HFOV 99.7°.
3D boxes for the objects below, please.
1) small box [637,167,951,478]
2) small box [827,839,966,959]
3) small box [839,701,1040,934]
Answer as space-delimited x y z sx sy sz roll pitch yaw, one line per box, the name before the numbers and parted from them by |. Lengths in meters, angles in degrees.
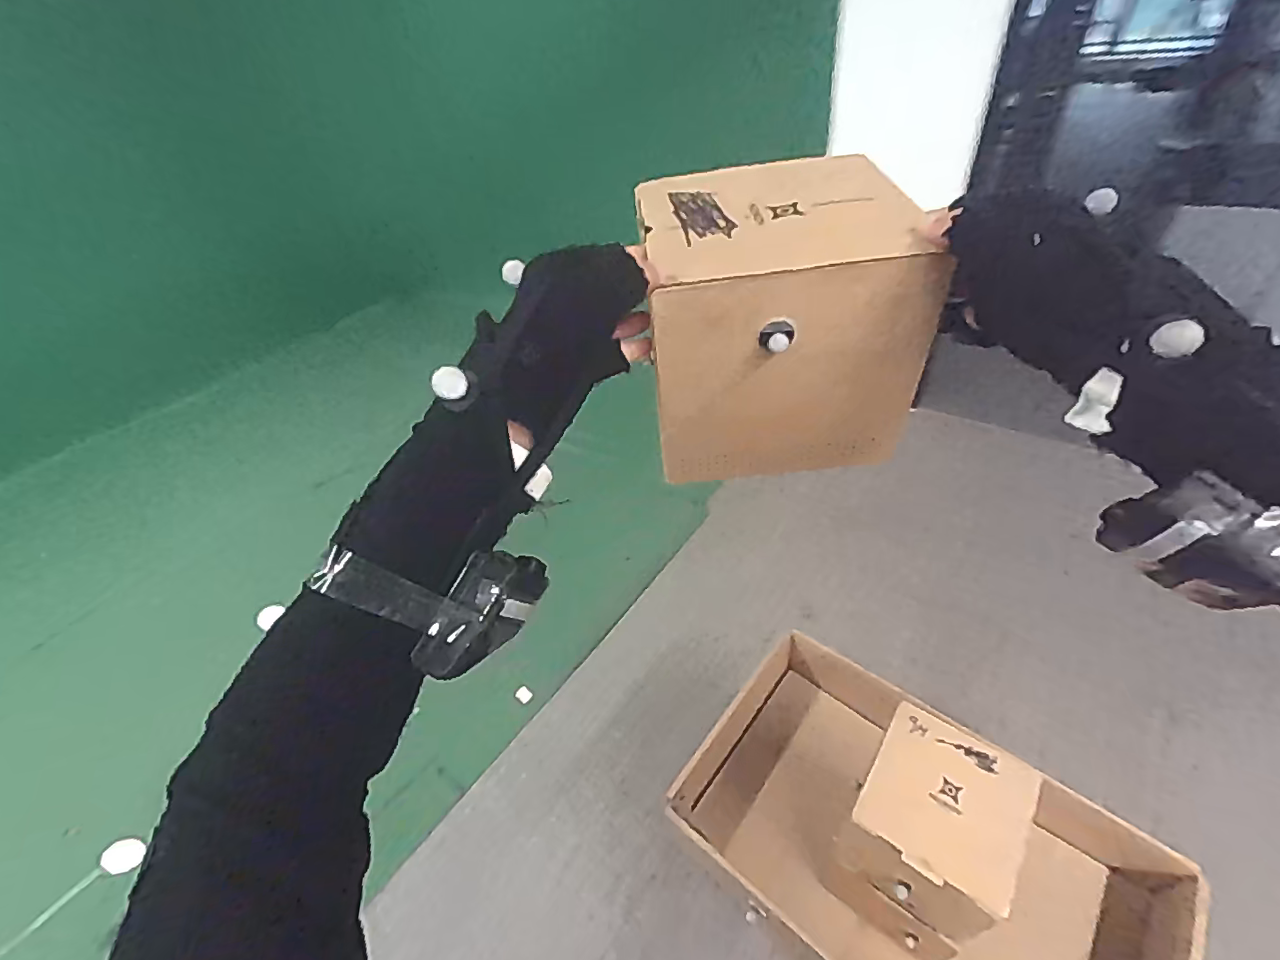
small box | 0.095 -0.116 0.418 0.179 0.176 0.168 -5 47 2
small box | 0.394 0.558 0.804 0.168 0.176 0.179 25 51 31
small box | 0.372 0.435 0.698 0.168 0.176 0.179 26 53 31
